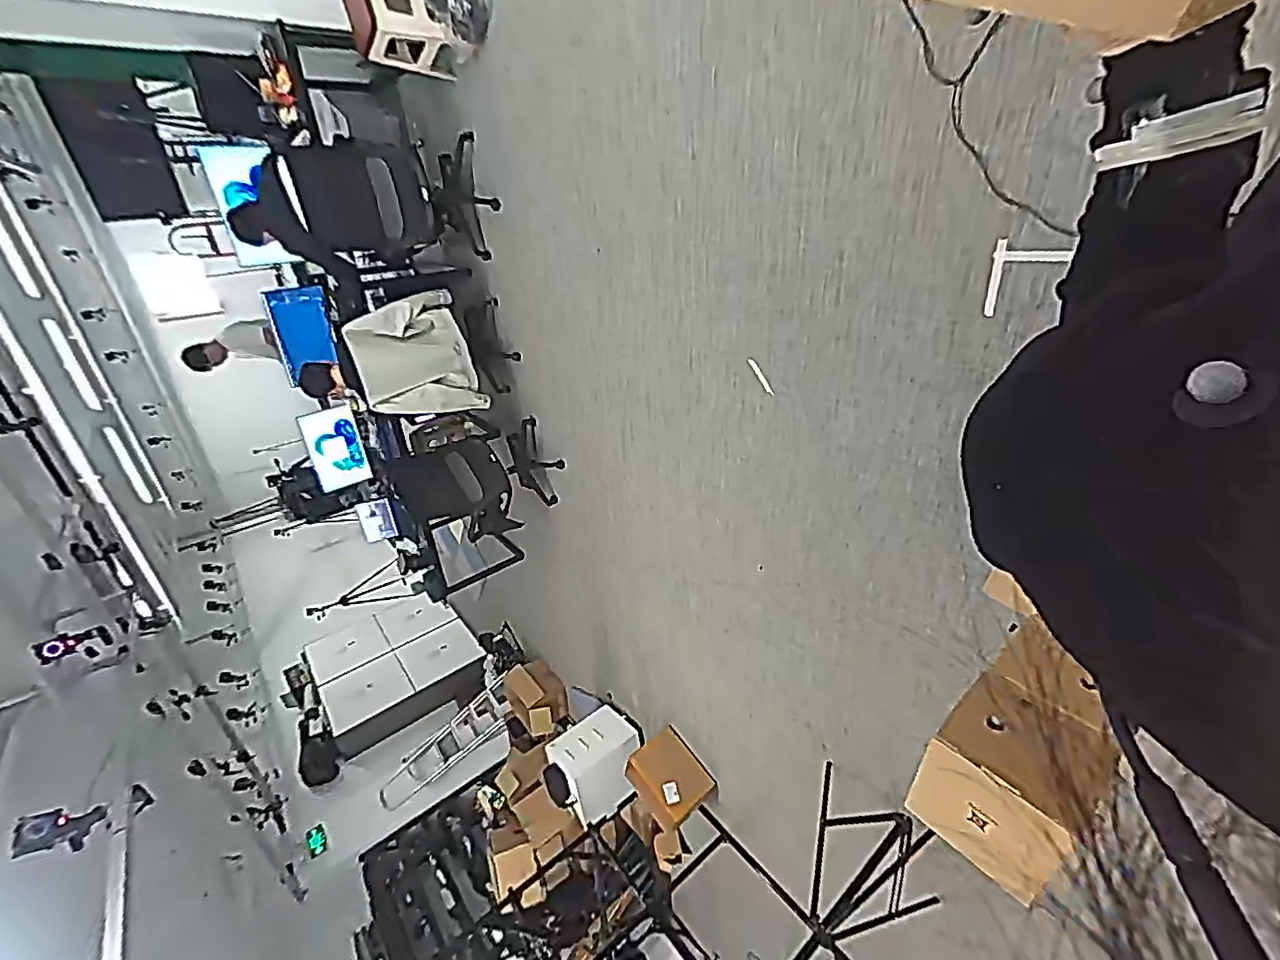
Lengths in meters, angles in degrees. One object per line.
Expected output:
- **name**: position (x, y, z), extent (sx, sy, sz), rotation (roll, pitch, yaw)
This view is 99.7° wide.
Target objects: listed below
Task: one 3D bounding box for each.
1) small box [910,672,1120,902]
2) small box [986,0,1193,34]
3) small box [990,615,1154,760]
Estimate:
- **small box**: position (0.503, 0.400, 0.732), extent (0.168, 0.176, 0.179), rotation (31, 136, 43)
- **small box**: position (0.217, -0.319, 0.224), extent (0.179, 0.176, 0.168), rotation (43, 154, 28)
- **small box**: position (0.628, 0.339, 0.816), extent (0.168, 0.176, 0.179), rotation (31, 134, 42)
